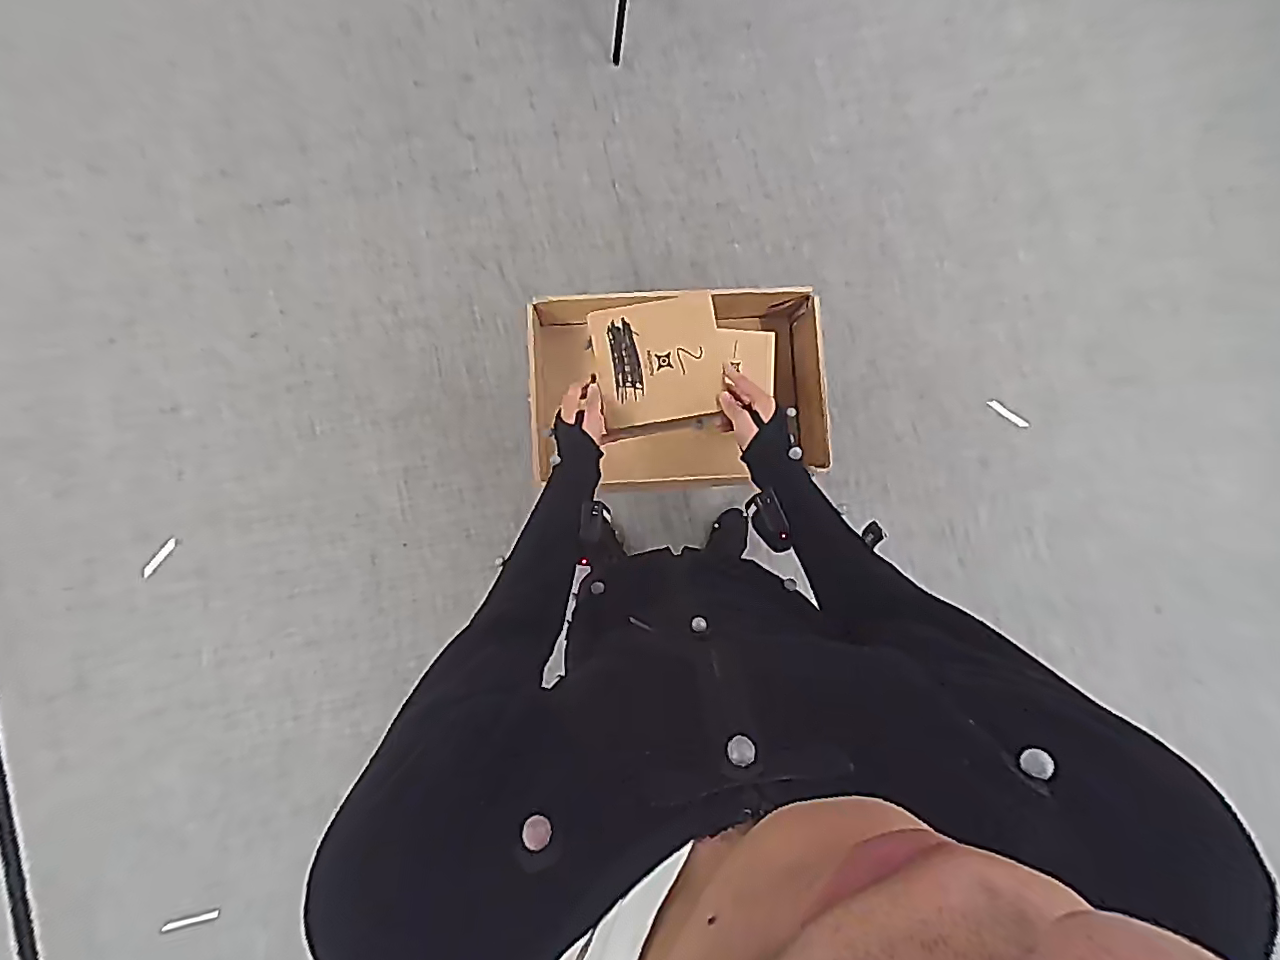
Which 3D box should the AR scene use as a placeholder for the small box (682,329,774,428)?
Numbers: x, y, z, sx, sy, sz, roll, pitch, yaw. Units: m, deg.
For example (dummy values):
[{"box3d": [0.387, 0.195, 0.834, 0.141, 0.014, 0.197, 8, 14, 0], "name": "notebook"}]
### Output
[{"box3d": [0.185, -0.212, 1.178, 0.168, 0.176, 0.179, 3, 86, -3], "name": "small box"}]
